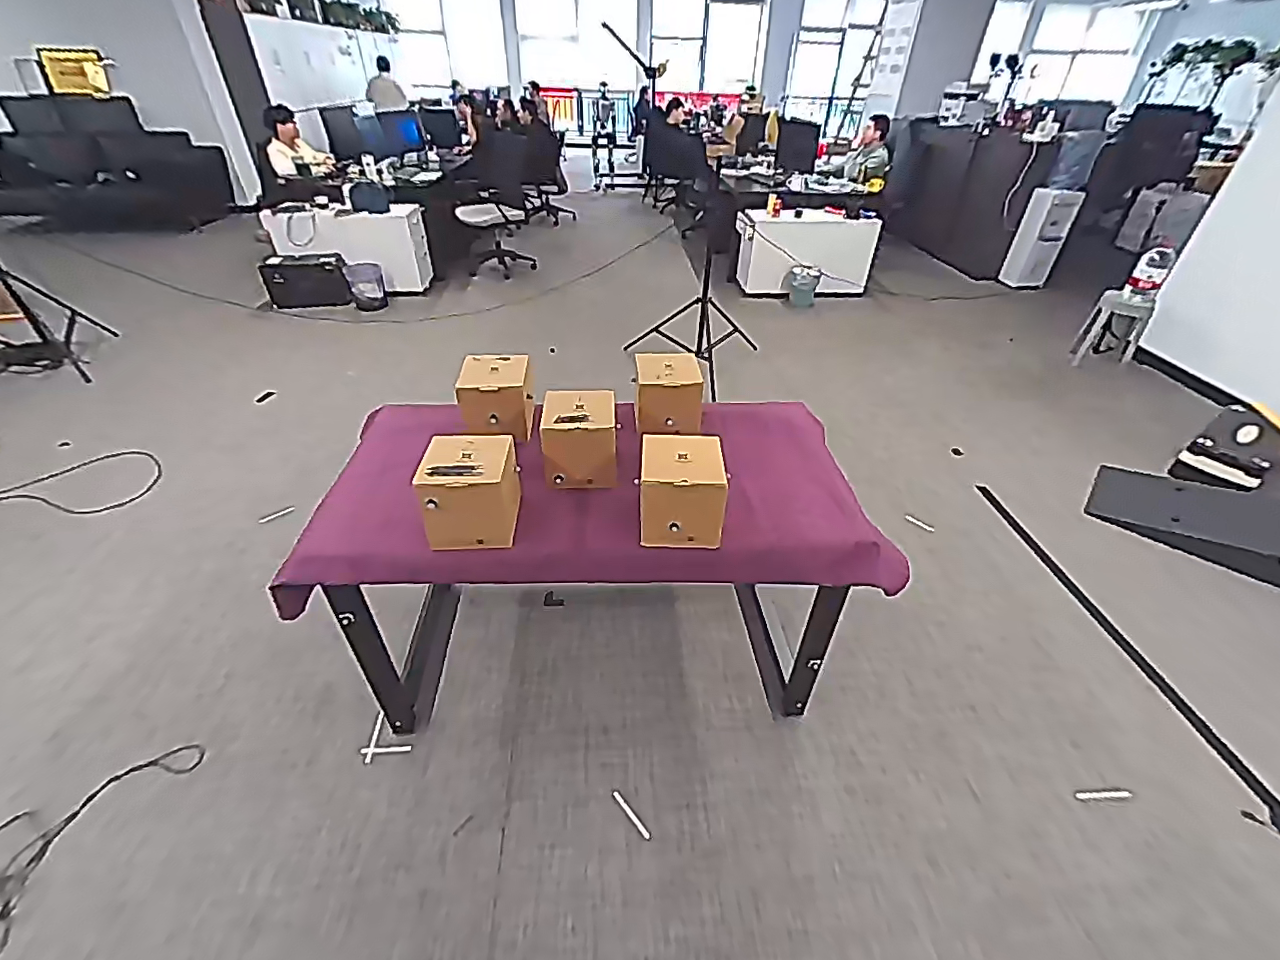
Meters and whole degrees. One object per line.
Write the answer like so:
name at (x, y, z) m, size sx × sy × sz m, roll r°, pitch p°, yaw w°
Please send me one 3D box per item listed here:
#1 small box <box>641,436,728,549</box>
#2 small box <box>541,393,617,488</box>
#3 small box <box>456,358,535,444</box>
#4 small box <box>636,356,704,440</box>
small box at (0.087, 0.025, 1.145) m, size 0.168 × 0.176 × 0.179 m, roll 1°, pitch 36°, yaw 0°
small box at (-0.139, -0.093, 1.293) m, size 0.168 × 0.176 × 0.179 m, roll -1°, pitch 37°, yaw -3°
small box at (-0.372, -0.206, 1.430) m, size 0.168 × 0.176 × 0.179 m, roll -1°, pitch 40°, yaw -4°
small box at (0.074, -0.225, 1.469) m, size 0.168 × 0.176 × 0.179 m, roll -2°, pitch 39°, yaw -3°
